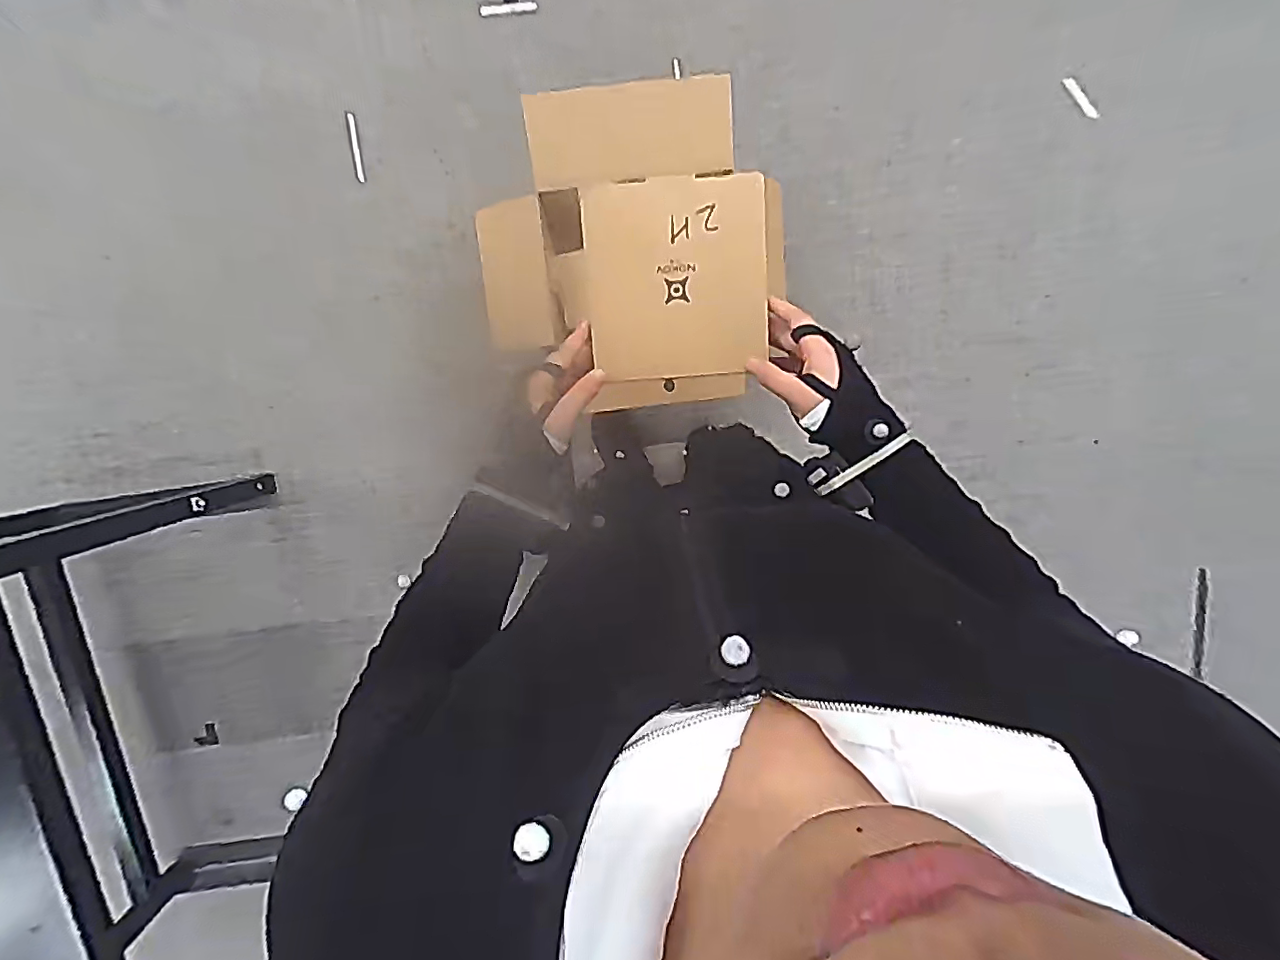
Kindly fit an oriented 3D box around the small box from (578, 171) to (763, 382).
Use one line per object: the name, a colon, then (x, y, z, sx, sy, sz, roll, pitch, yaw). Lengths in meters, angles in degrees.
small box: (0.028, -0.198, 0.569, 0.168, 0.176, 0.179, -4, 100, -1)
